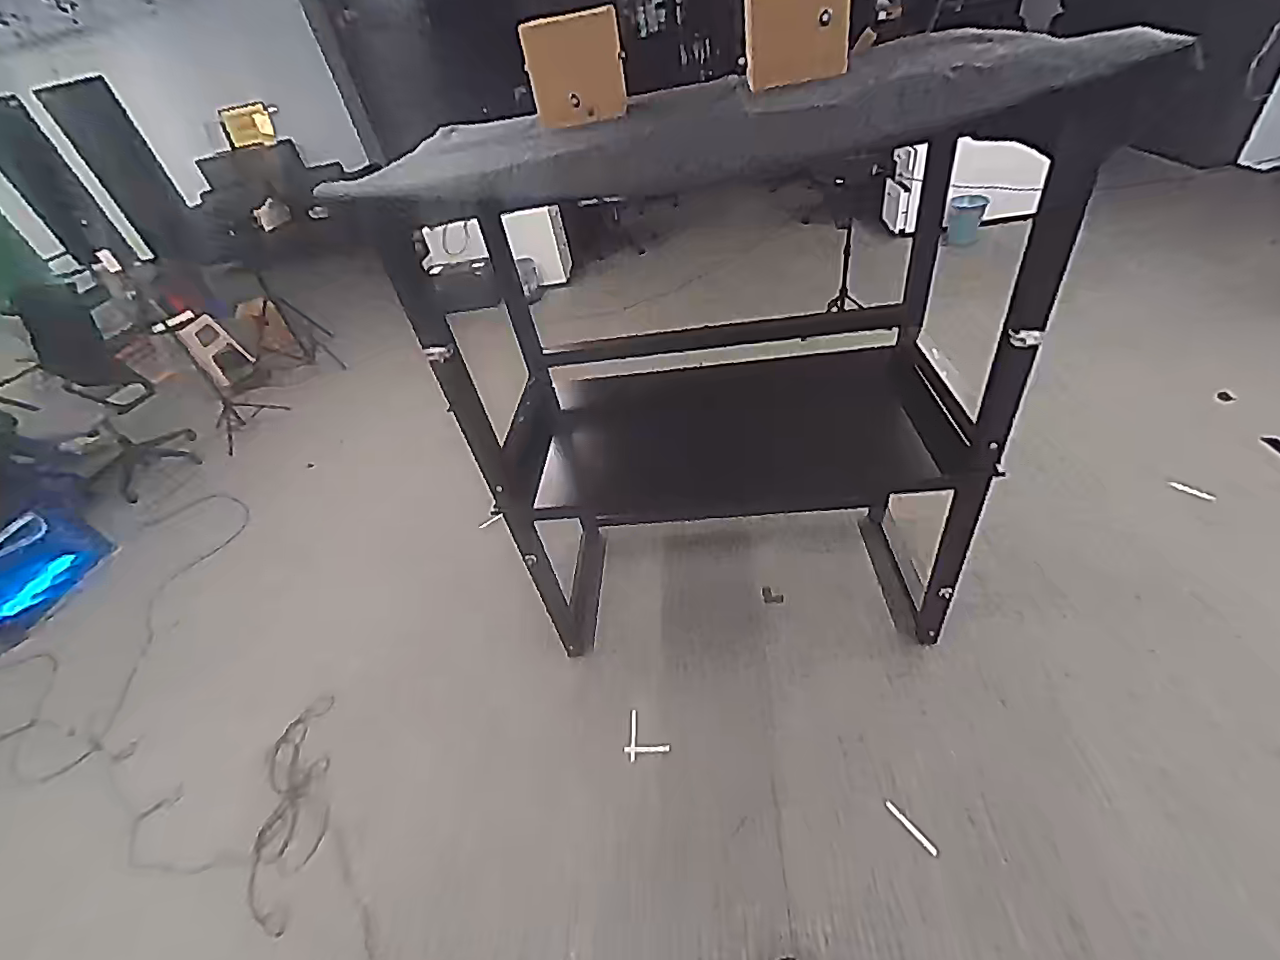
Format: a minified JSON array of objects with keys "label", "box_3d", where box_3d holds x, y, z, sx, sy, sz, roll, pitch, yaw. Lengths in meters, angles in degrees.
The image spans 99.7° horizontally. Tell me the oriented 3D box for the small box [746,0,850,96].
[{"label":"small box","box_3d":[0.294,-0.857,1.030,0.179,0.176,0.168,-3,40,10]}]
